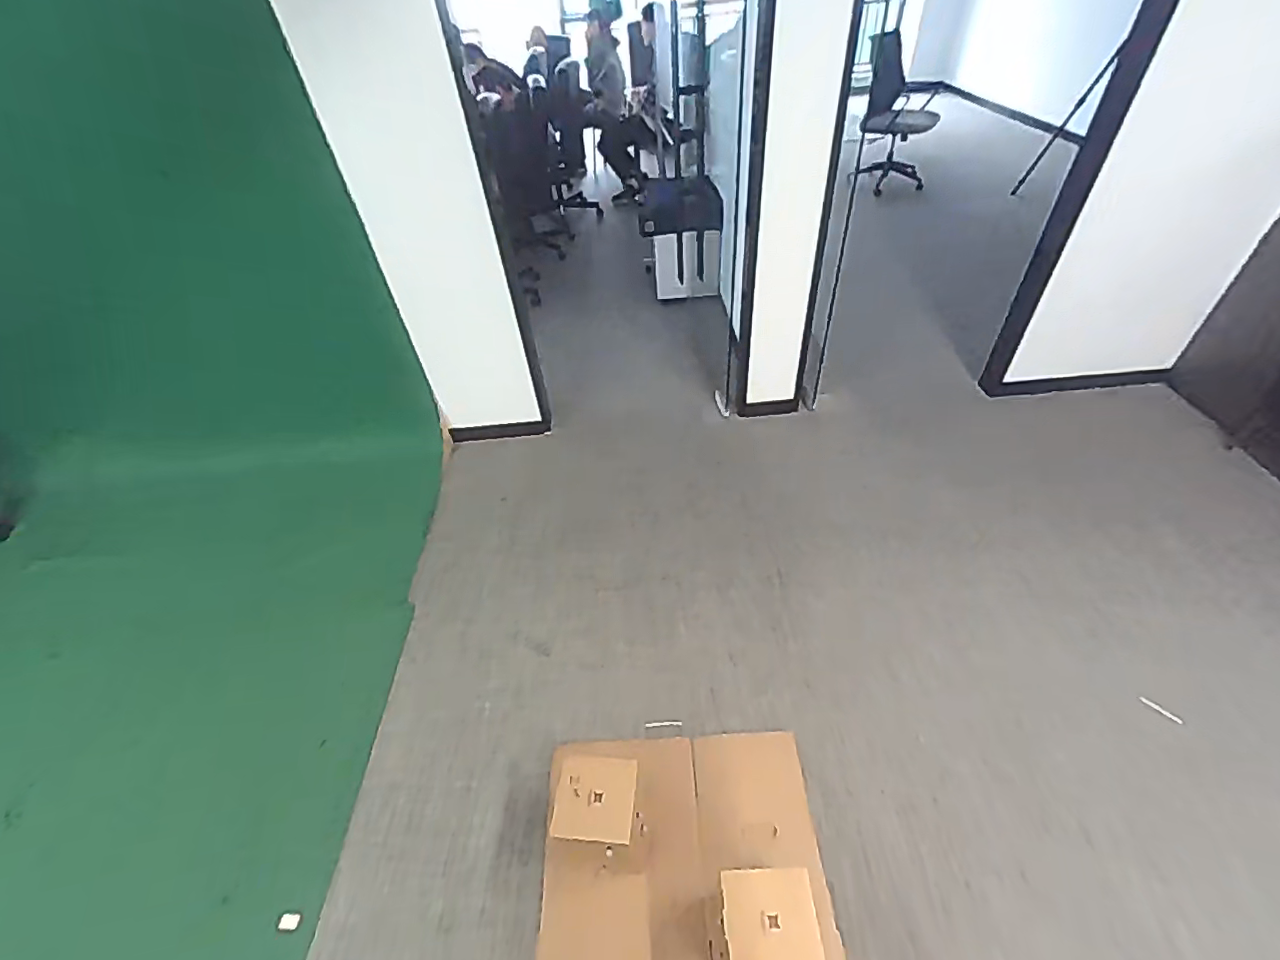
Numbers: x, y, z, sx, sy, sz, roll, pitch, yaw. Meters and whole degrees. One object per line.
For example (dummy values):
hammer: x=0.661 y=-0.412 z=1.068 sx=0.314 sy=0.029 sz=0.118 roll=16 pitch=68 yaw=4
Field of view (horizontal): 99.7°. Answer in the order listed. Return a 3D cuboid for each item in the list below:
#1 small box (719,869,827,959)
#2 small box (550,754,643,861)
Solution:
small box: x=0.253 y=0.882 z=1.065 sx=0.179 sy=0.176 sz=0.168 roll=-5 pitch=45 yaw=3
small box: x=-0.089 y=0.747 z=1.229 sx=0.179 sy=0.176 sz=0.168 roll=1 pitch=44 yaw=7
